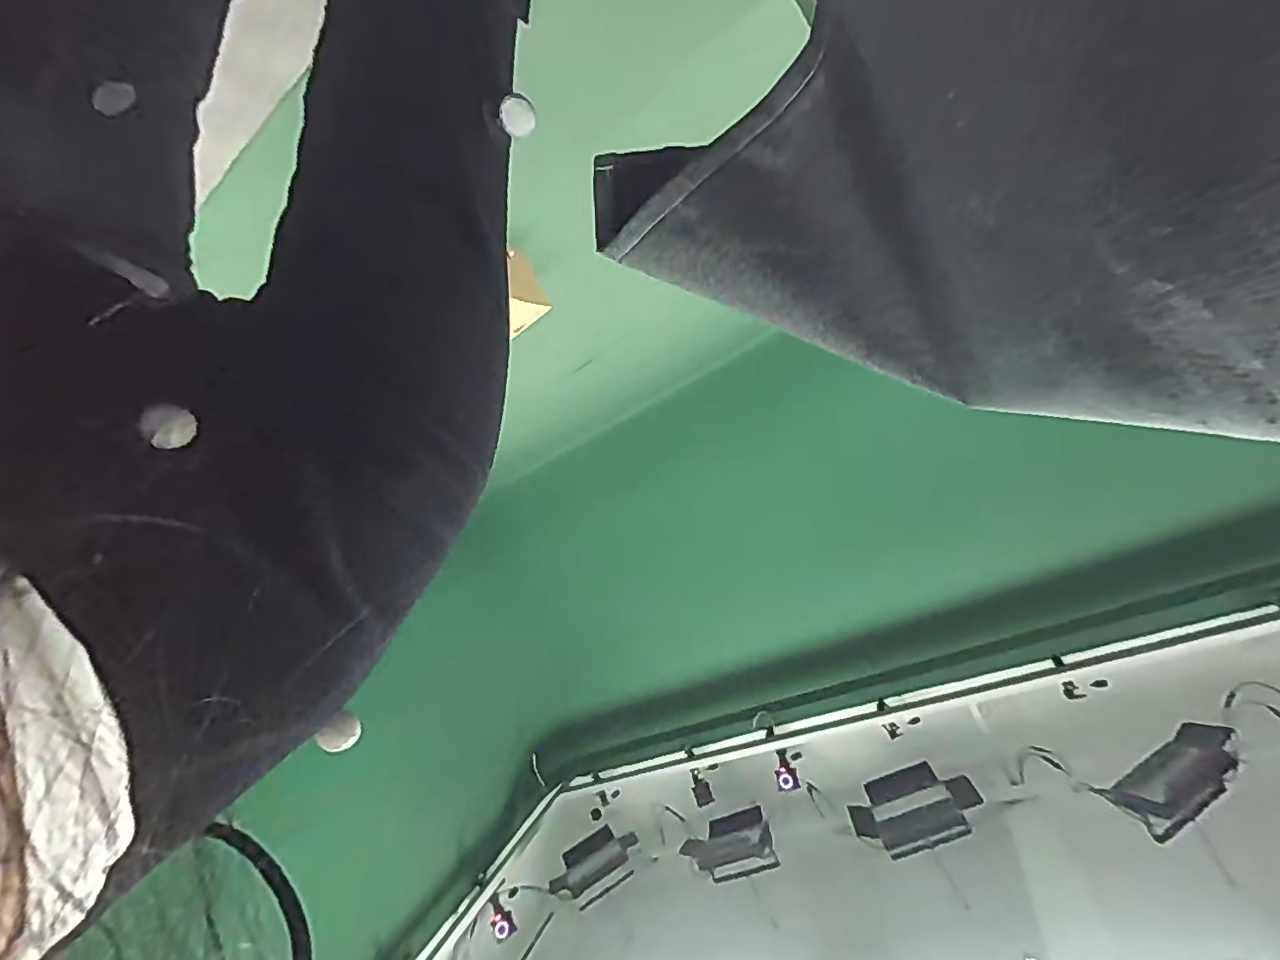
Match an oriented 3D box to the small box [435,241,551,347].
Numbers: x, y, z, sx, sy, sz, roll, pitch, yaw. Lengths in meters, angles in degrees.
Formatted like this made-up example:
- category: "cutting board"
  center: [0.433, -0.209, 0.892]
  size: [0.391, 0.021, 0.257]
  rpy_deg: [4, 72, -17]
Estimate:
- category: "small box"
  center: [-0.353, -0.440, 1.291]
  size: [0.168, 0.176, 0.179]
  rpy_deg: [-27, 176, 25]
